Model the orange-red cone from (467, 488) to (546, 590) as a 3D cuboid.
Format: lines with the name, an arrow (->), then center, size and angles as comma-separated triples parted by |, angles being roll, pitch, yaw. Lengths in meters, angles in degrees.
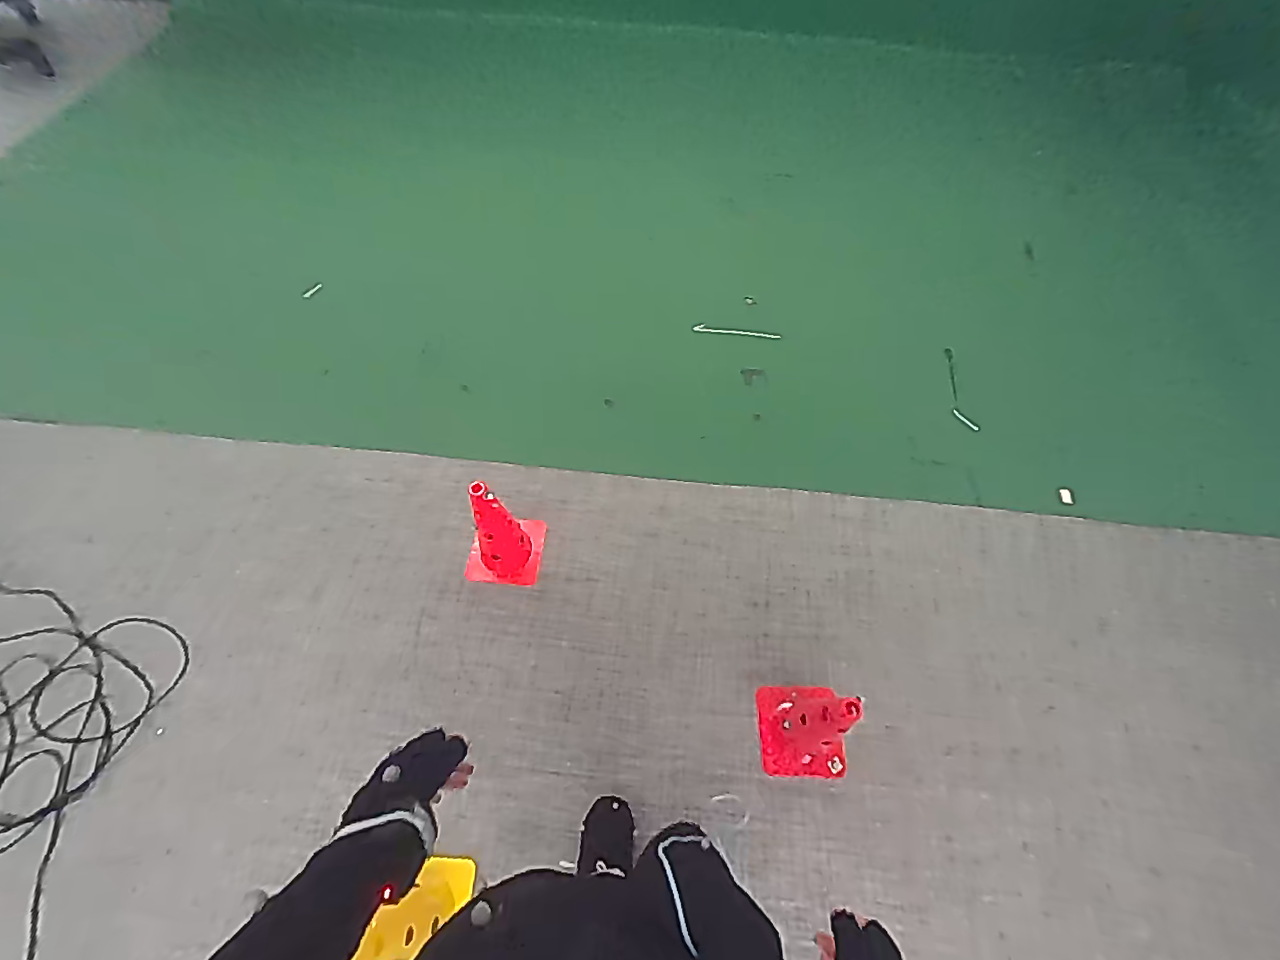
orange-red cone -> -0.376, 0.125, 1.384 | 0.198, 0.360, 0.199 | 5, 60, 3

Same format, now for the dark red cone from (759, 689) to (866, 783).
dark red cone -> 0.390, 0.512, 1.138 | 0.202, 0.394, 0.201 | 0, 57, -1
